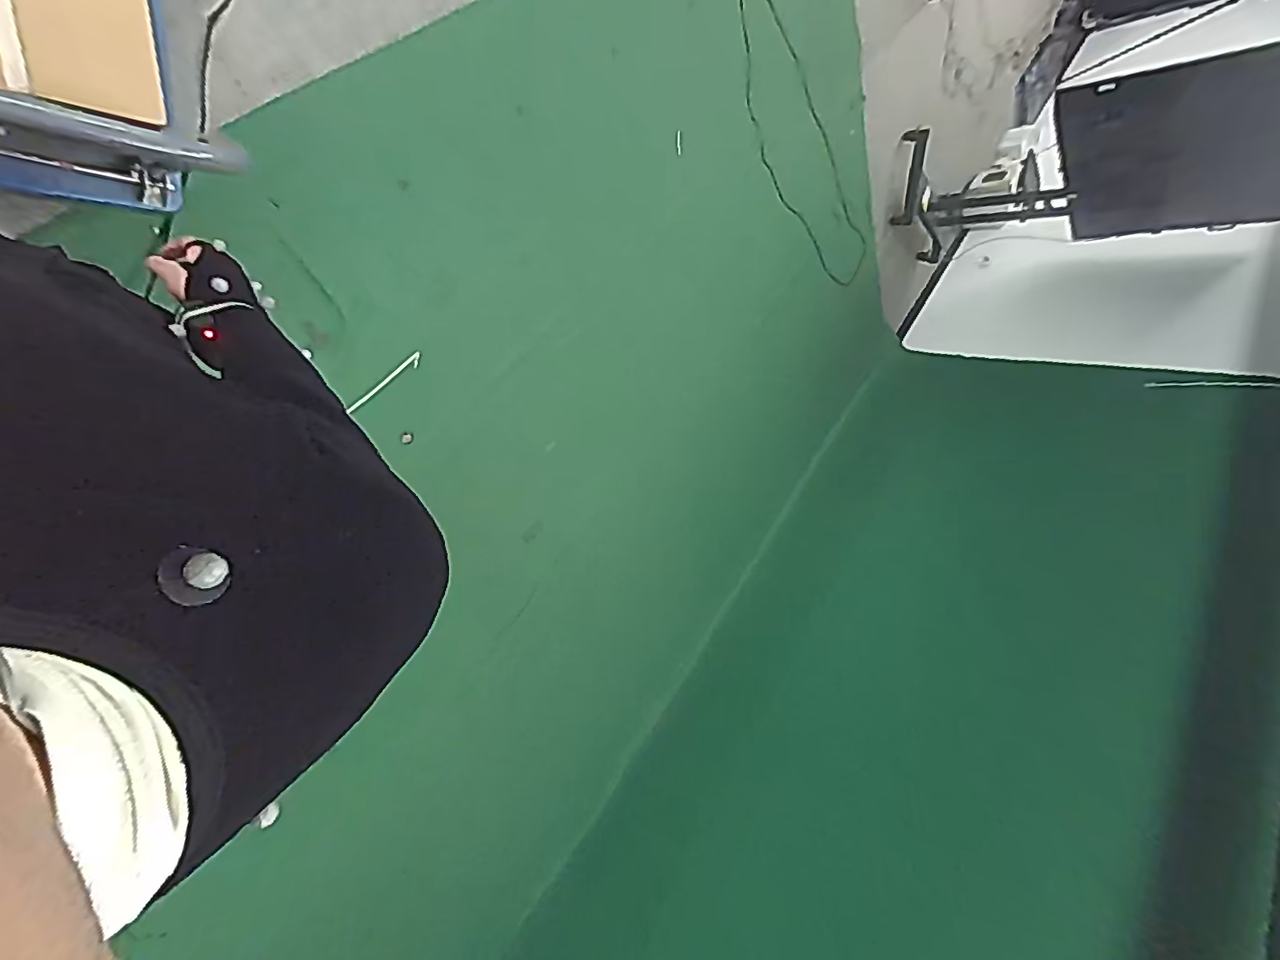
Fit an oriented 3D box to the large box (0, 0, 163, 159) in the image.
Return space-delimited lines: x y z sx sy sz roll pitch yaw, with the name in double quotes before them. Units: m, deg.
"large box" -0.953 -0.743 0.781 0.320 0.320 0.408 -15 113 -46
